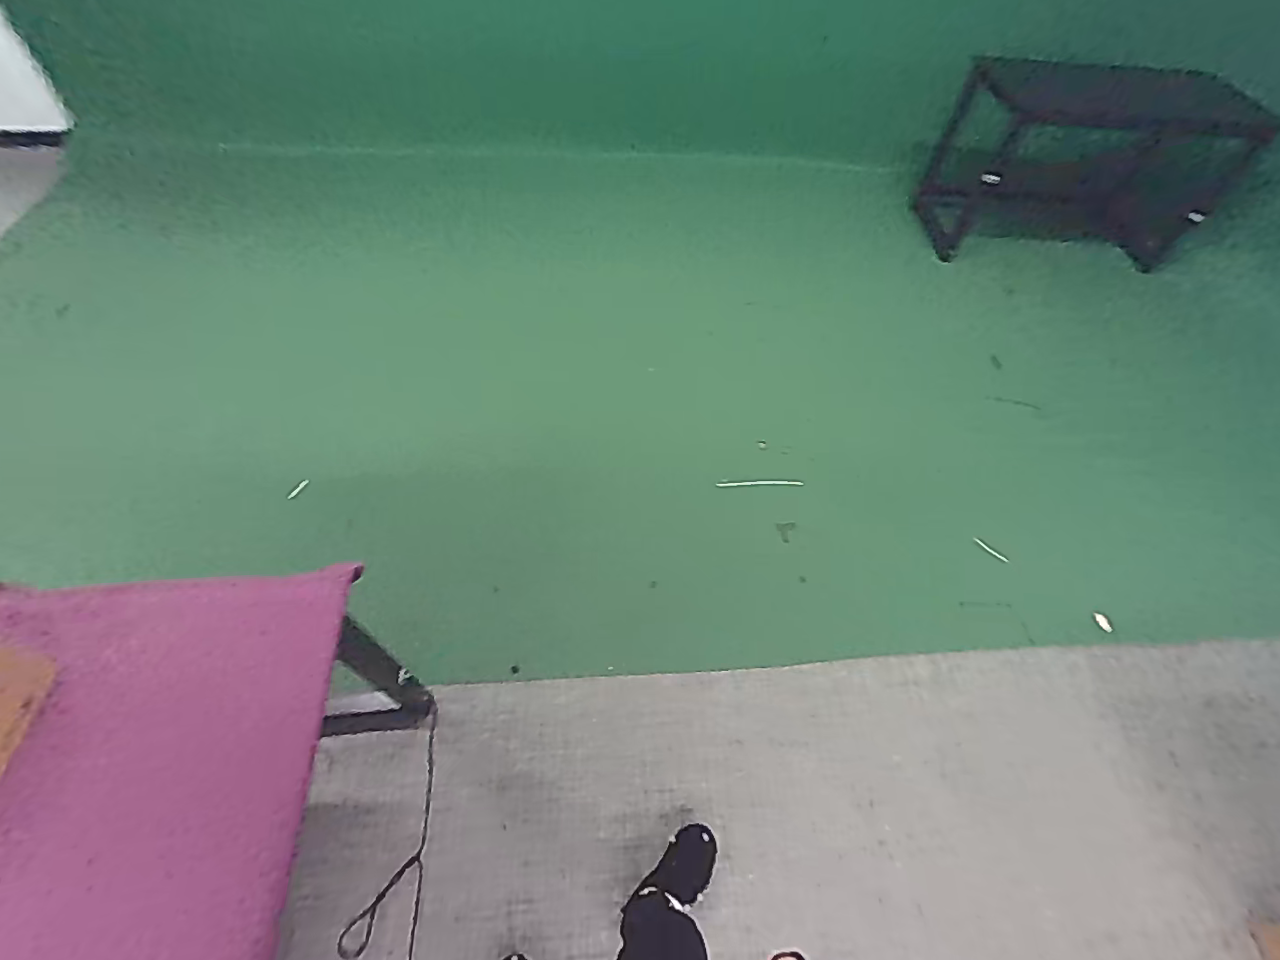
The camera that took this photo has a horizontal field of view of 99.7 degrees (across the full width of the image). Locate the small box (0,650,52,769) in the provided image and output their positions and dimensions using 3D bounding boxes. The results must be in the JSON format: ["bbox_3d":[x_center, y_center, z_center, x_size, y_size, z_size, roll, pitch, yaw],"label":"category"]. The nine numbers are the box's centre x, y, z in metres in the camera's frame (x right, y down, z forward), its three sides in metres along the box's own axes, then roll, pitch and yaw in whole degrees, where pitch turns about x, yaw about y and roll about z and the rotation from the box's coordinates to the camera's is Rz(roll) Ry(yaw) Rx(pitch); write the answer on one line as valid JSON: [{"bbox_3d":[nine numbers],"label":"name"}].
[{"bbox_3d":[-0.943,0.302,0.685,0.179,0.176,0.168,0,55,-4],"label":"small box"}]
